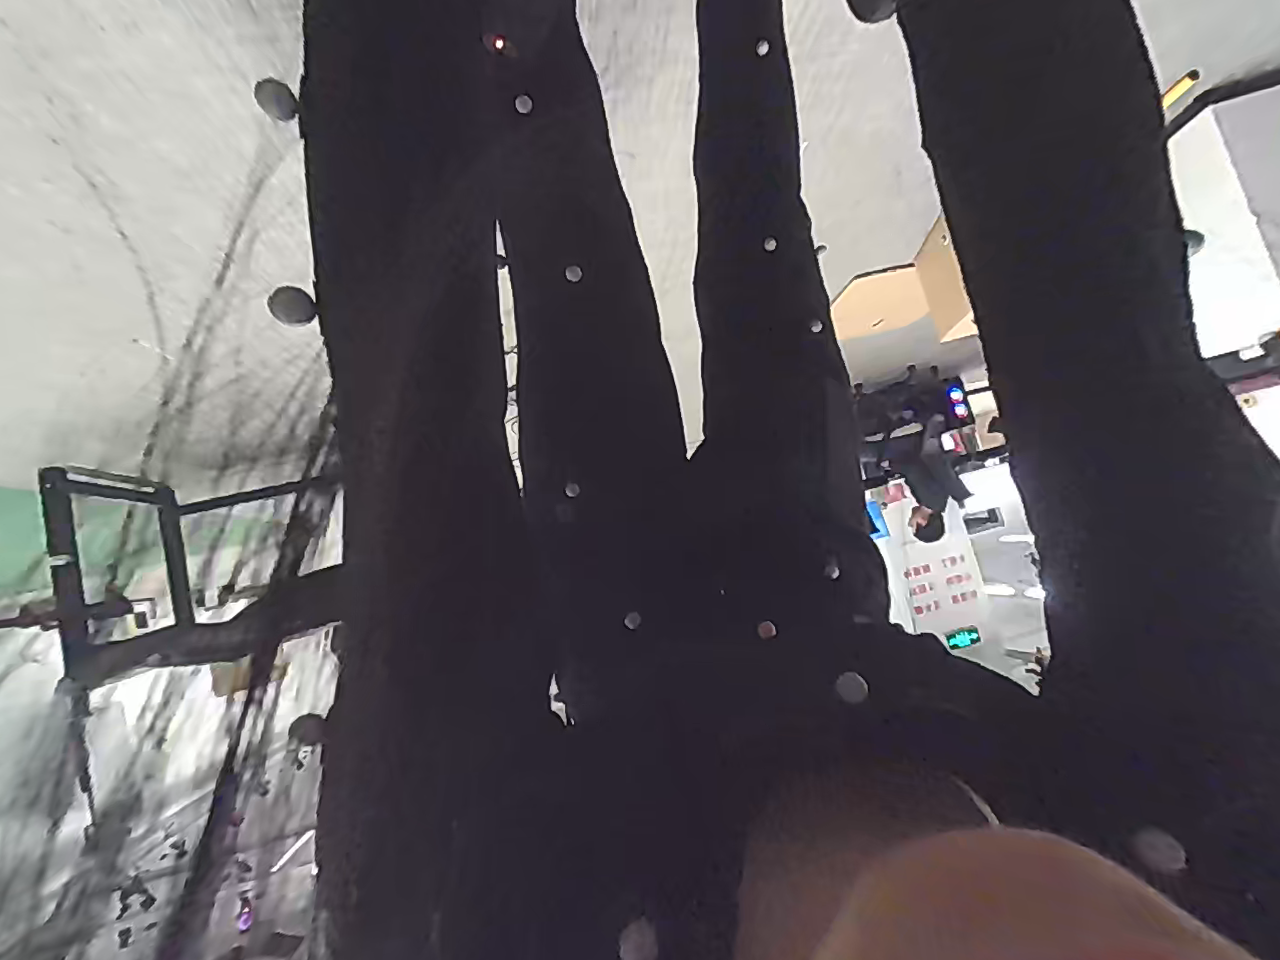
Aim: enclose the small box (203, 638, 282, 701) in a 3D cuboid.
[{"bbox_3d":[-1.472,0.694,2.007,0.168,0.176,0.179,-14,174,-7],"label":"small box"}]
